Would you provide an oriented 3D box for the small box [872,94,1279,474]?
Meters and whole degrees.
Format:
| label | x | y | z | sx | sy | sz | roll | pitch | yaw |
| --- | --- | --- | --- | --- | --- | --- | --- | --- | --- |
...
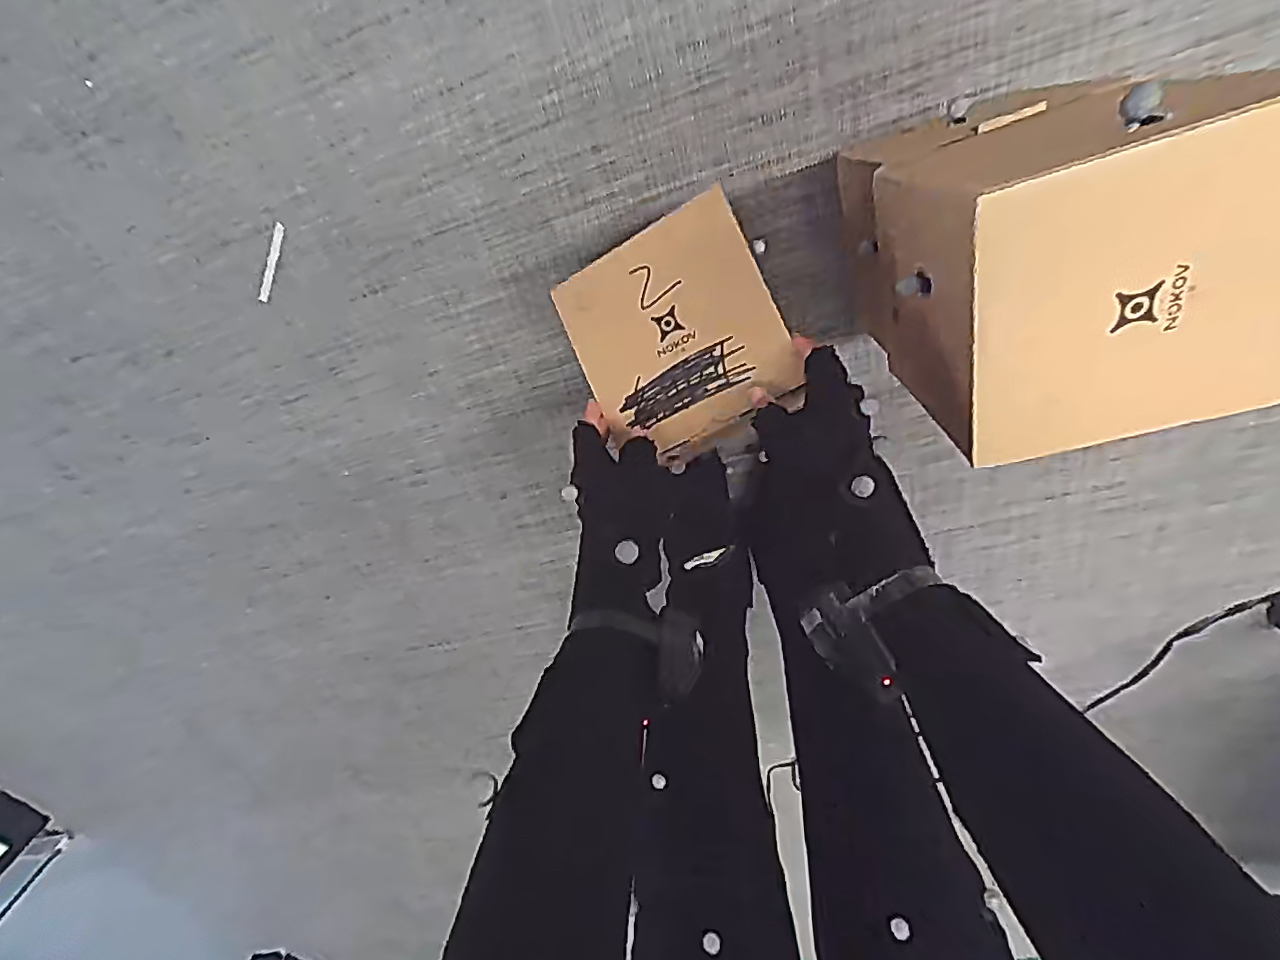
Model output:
| label | x | y | z | sx | sy | sz | roll | pitch | yaw |
| --- | --- | --- | --- | --- | --- | --- | --- | --- | --- |
| small box | 0.270 | -0.131 | 0.365 | 0.179 | 0.176 | 0.168 | -14 | 120 | 12 |
